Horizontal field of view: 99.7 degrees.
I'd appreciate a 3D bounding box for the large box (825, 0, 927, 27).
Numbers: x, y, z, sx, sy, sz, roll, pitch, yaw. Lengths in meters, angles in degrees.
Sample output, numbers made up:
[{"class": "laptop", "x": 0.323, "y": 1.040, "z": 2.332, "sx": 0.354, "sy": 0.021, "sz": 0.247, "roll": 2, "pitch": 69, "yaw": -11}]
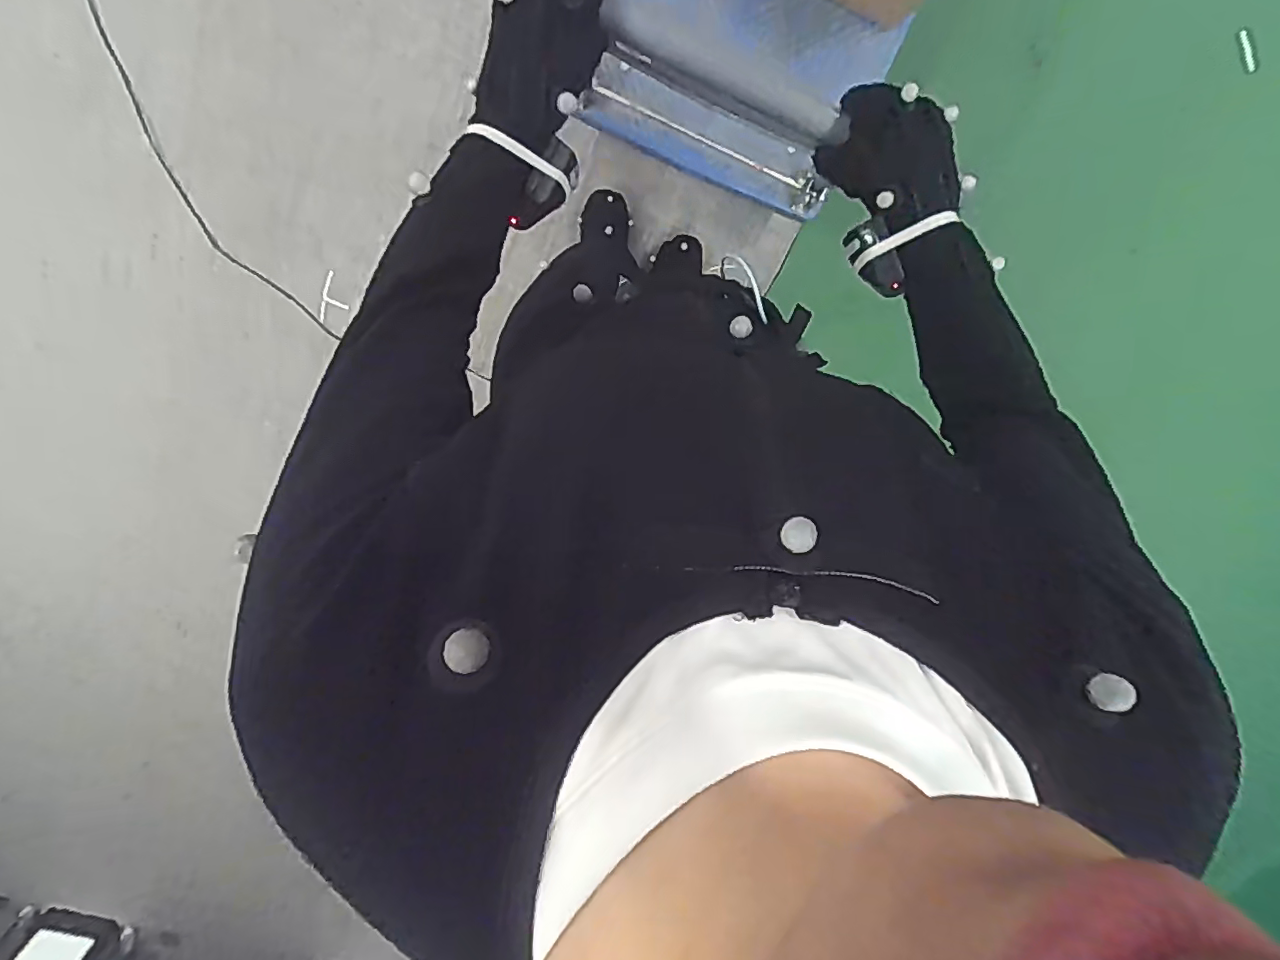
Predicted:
[{"class": "large box", "x": 0.323, "y": -0.954, "z": 0.780, "sx": 0.408, "sy": 0.320, "sz": 0.320, "roll": 18, "pitch": 113, "yaw": -7}]
